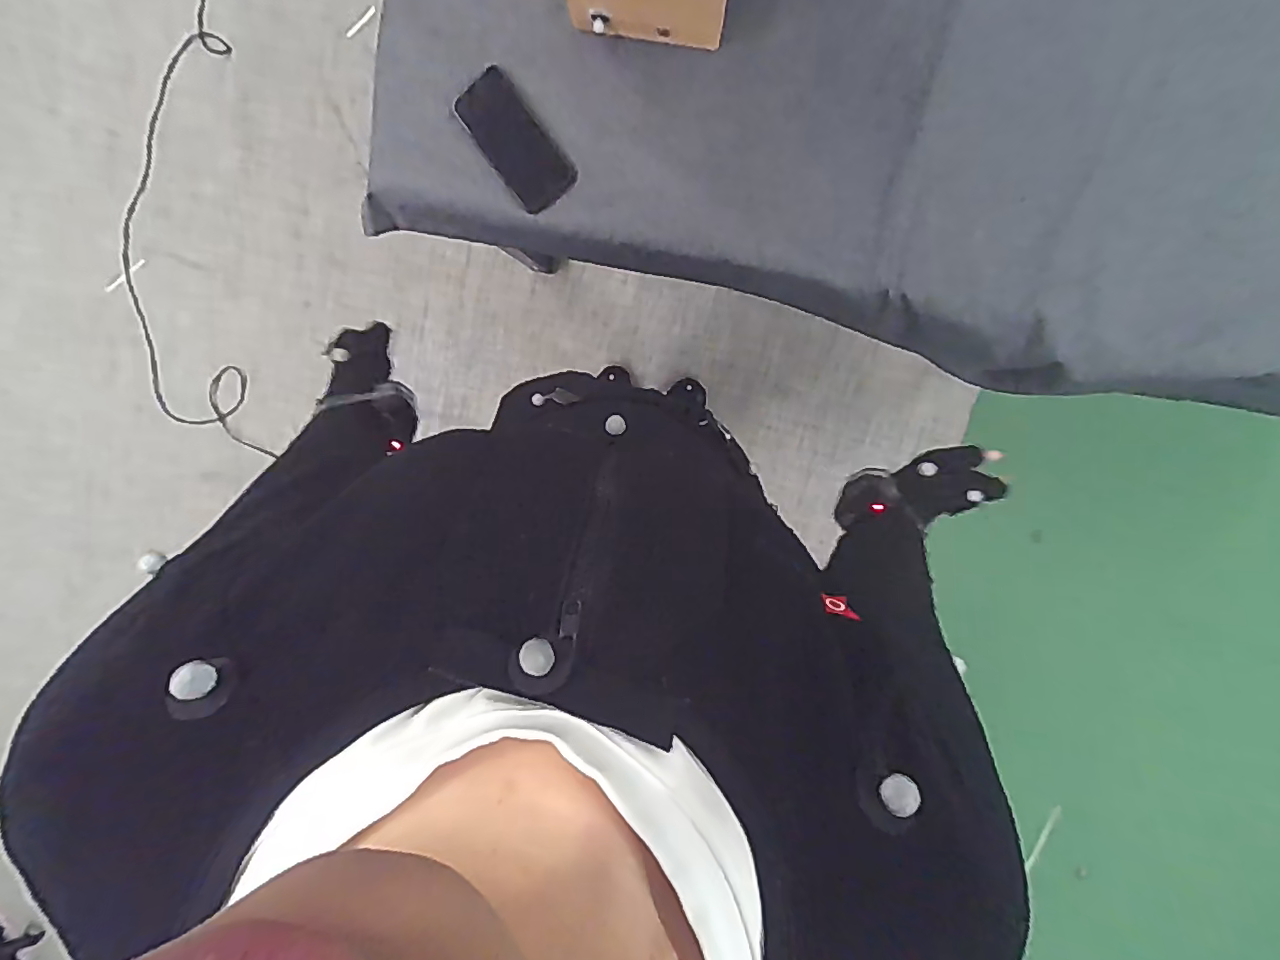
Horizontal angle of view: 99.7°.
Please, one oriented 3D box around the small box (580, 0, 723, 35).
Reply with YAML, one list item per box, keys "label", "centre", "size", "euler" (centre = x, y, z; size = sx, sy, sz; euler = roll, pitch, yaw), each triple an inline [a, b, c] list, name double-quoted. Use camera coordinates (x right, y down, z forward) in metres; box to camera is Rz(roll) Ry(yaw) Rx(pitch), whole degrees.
- label: "small box"
  centre: [0.014, -0.573, 0.512]
  size: [0.168, 0.176, 0.179]
  euler: [9, 102, 0]
